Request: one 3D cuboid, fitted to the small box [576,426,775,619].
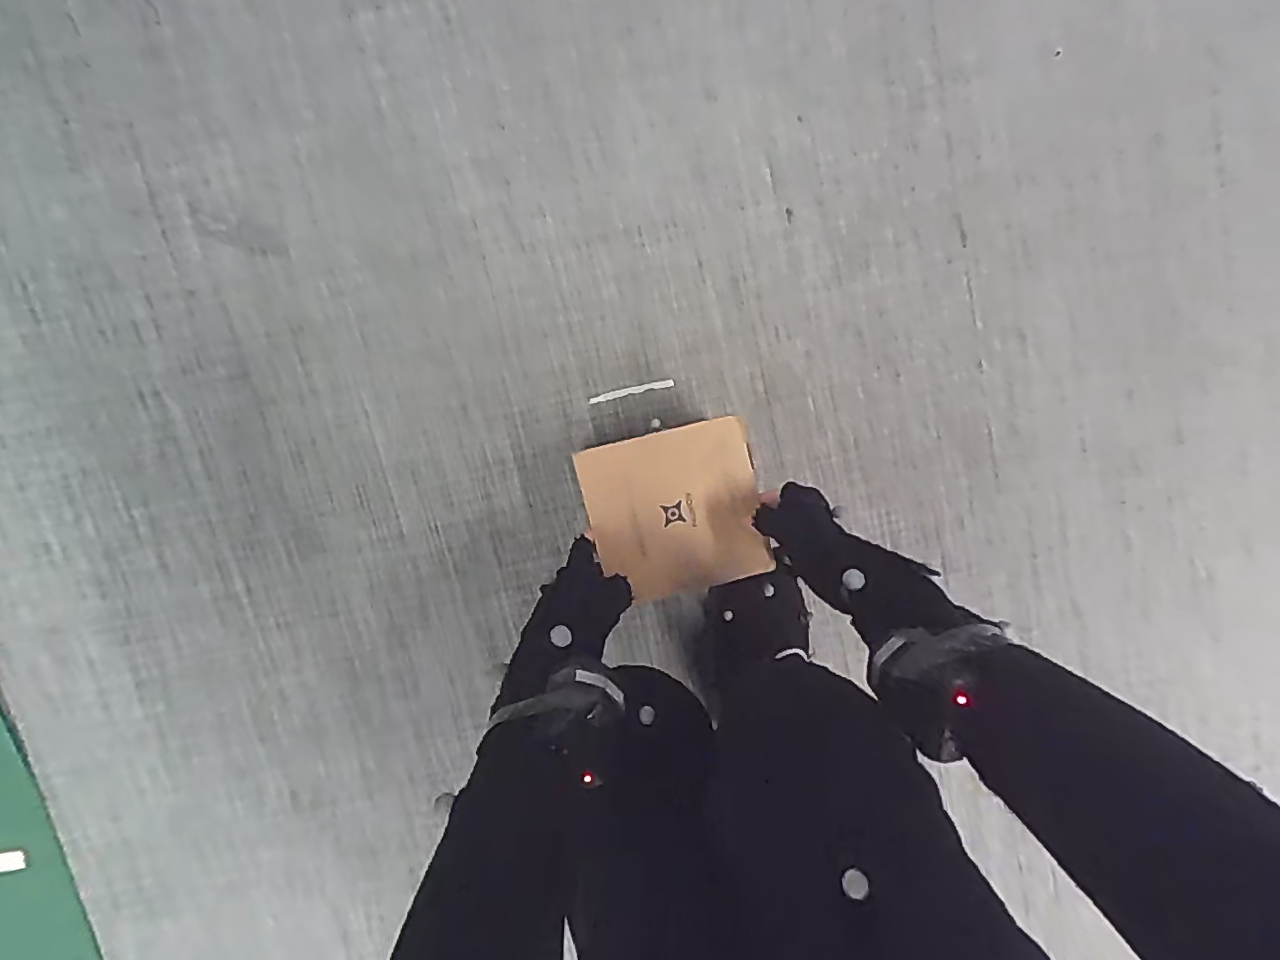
[{"bbox_3d":[0.033,0.037,0.625,0.179,0.176,0.168,-15,94,-1],"label":"small box"}]
